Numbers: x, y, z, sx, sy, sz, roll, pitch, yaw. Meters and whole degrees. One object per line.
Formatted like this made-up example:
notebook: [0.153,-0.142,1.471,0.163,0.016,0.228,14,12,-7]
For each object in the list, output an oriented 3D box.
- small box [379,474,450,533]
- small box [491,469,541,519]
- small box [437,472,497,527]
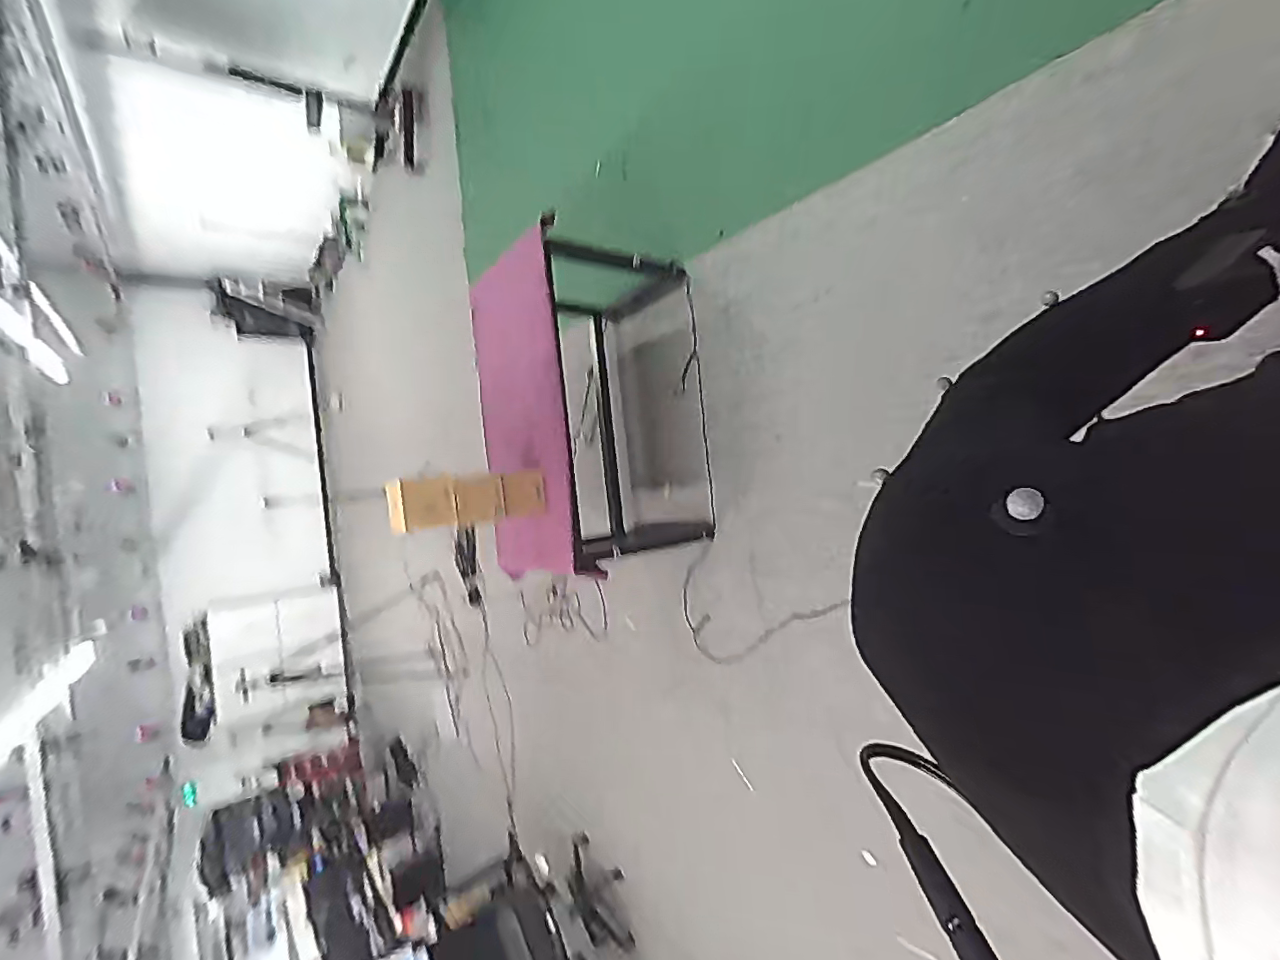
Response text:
small box: [-0.721,0.075,1.742,0.179,0.176,0.168,-11,87,52]
small box: [-0.476,0.051,1.955,0.179,0.176,0.168,-7,90,51]
small box: [-0.595,0.066,1.844,0.179,0.176,0.168,-7,90,52]
